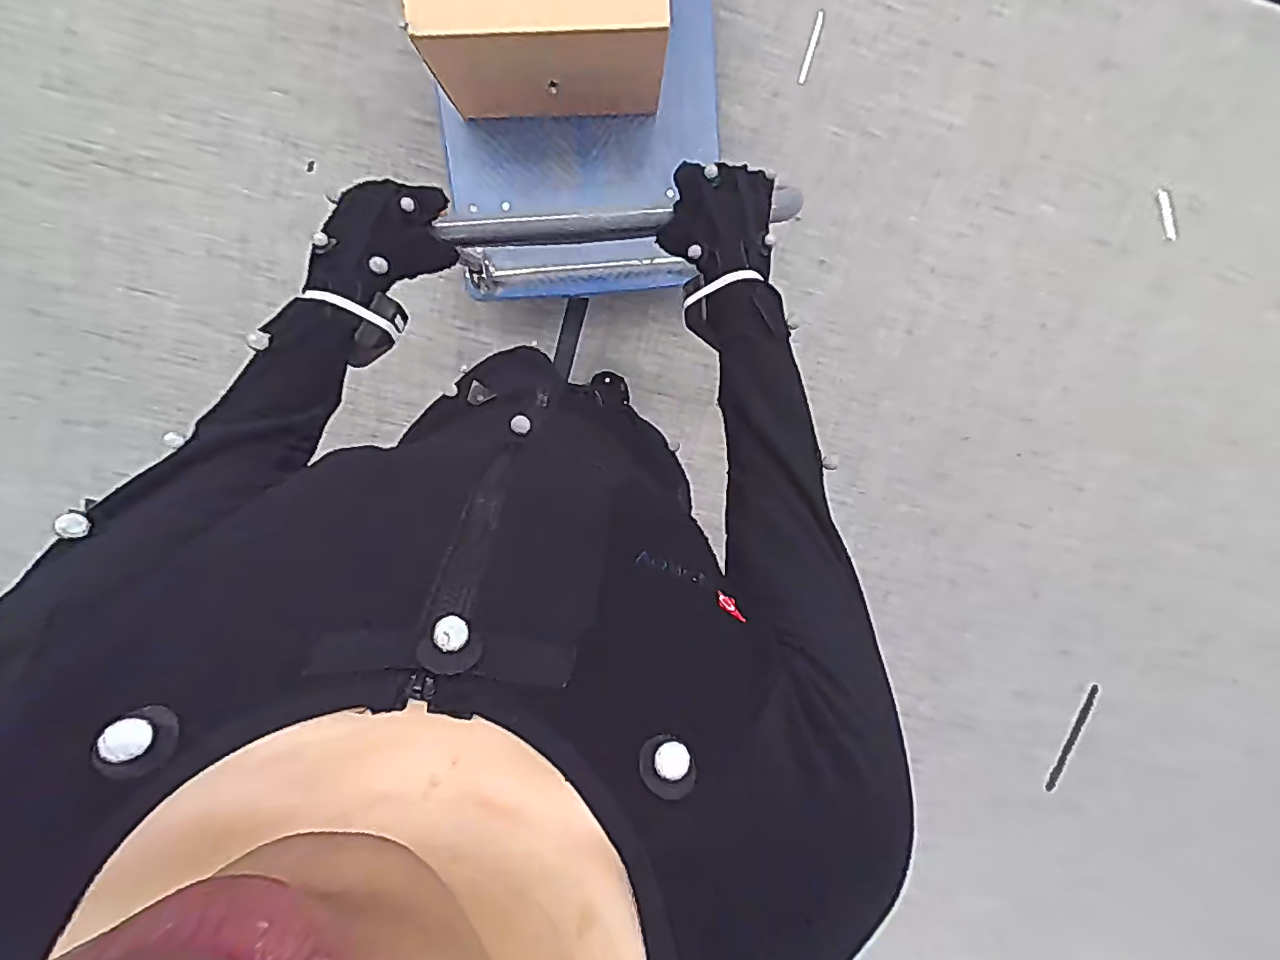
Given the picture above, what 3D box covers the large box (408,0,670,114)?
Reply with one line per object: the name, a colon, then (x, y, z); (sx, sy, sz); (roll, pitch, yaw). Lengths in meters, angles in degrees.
large box: (-0.162, -0.874, 0.940); (0.408, 0.320, 0.320); (-3, 103, -1)
